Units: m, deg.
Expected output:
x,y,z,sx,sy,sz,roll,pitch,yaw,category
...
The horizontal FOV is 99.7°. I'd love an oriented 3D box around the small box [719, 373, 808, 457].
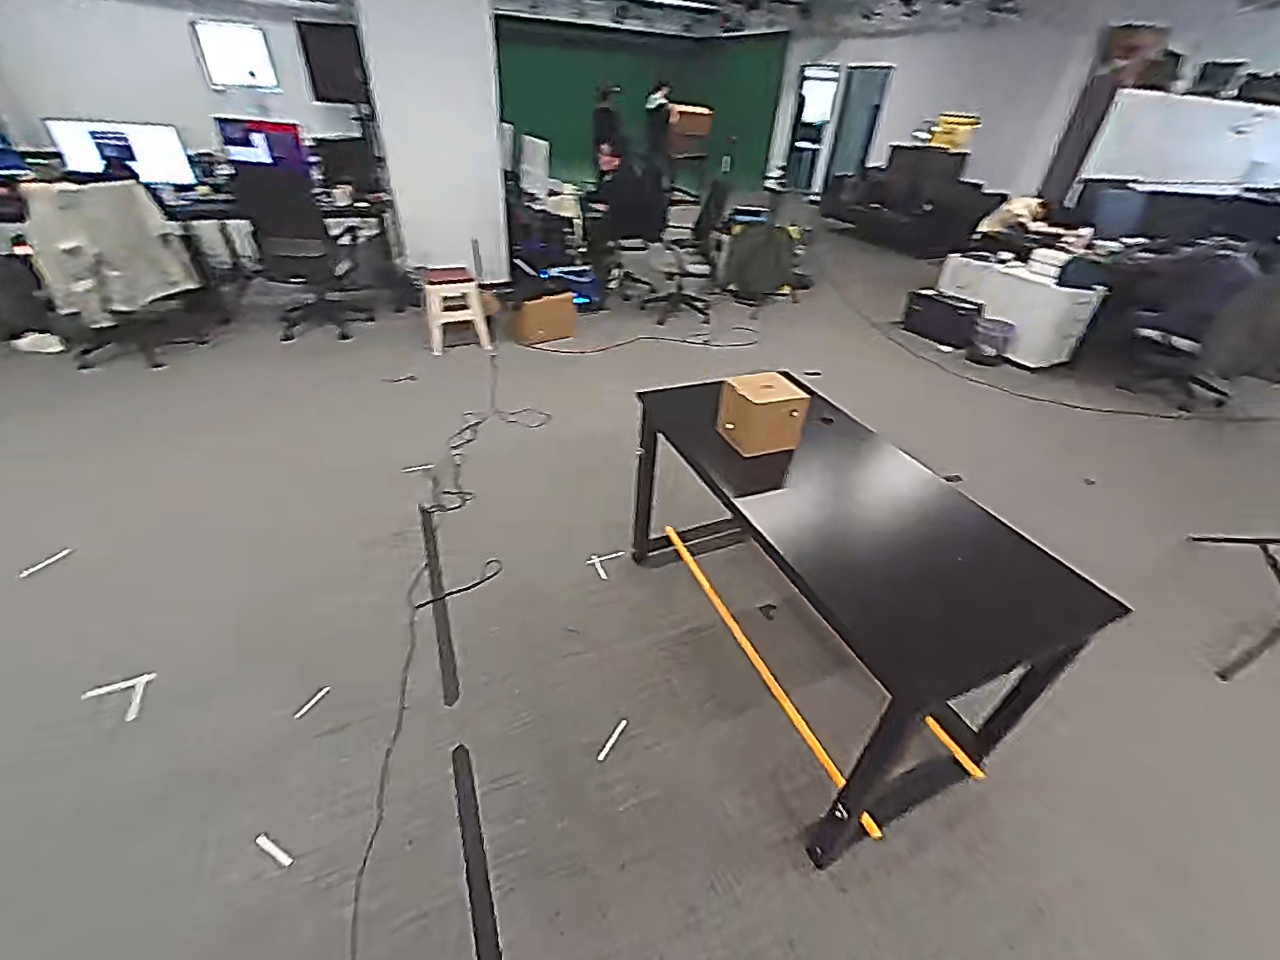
x,y,z,sx,sy,sz,roll,pitch,yaw,category
0.343,-0.186,1.541,0.179,0.176,0.168,-11,38,-19,small box
